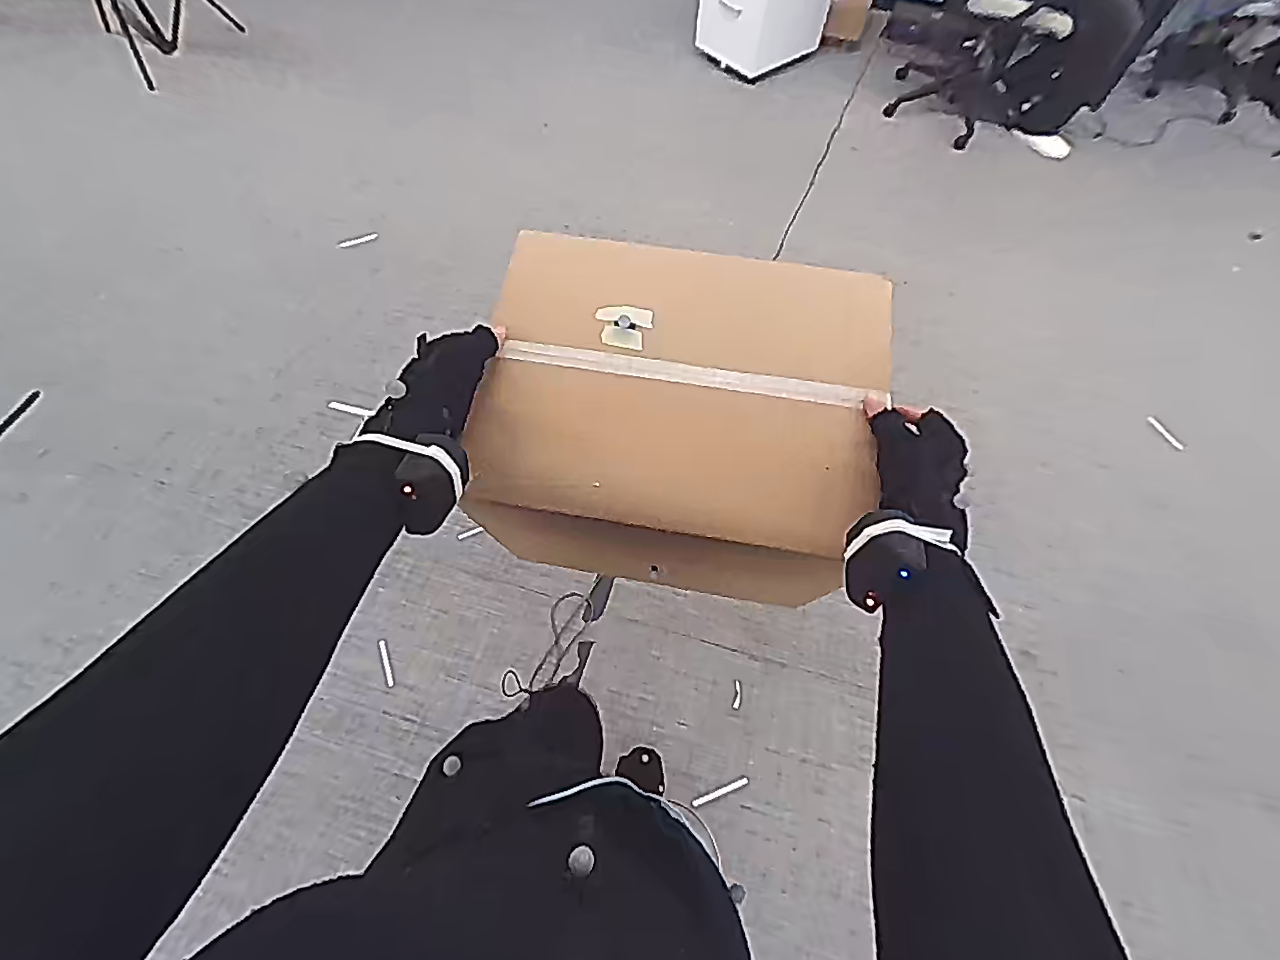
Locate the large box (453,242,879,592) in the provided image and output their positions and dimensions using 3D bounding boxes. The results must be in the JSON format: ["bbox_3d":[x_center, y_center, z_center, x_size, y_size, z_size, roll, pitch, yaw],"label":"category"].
[{"bbox_3d":[0.045,-0.054,0.690,0.408,0.320,0.320,9,70,5],"label":"large box"}]
